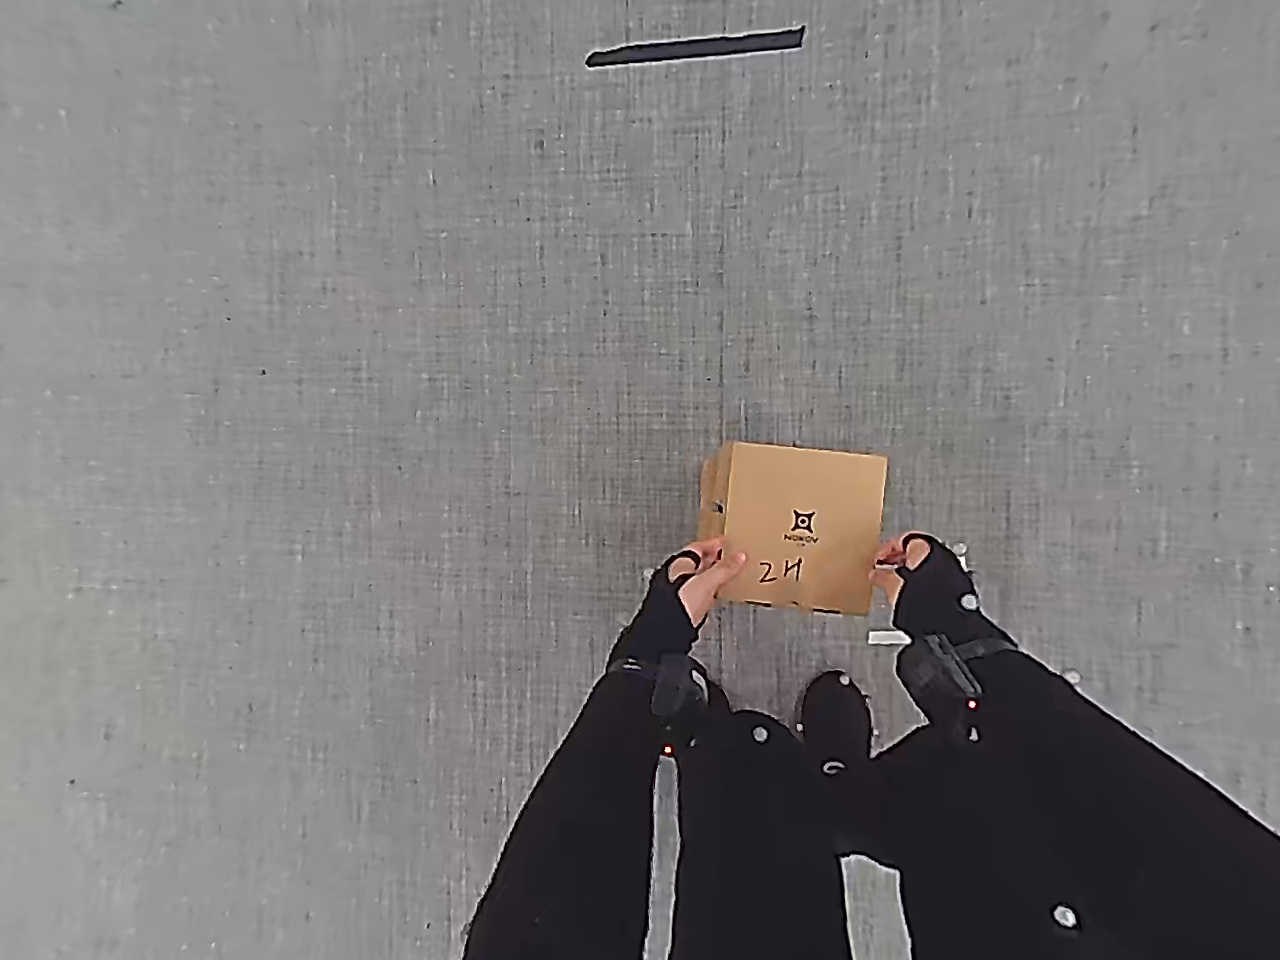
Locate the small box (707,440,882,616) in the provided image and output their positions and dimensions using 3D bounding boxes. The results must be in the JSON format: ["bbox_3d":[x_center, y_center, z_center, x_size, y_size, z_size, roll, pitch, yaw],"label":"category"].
[{"bbox_3d":[0.174,0.051,0.660,0.168,0.176,0.179,6,92,5],"label":"small box"}]
